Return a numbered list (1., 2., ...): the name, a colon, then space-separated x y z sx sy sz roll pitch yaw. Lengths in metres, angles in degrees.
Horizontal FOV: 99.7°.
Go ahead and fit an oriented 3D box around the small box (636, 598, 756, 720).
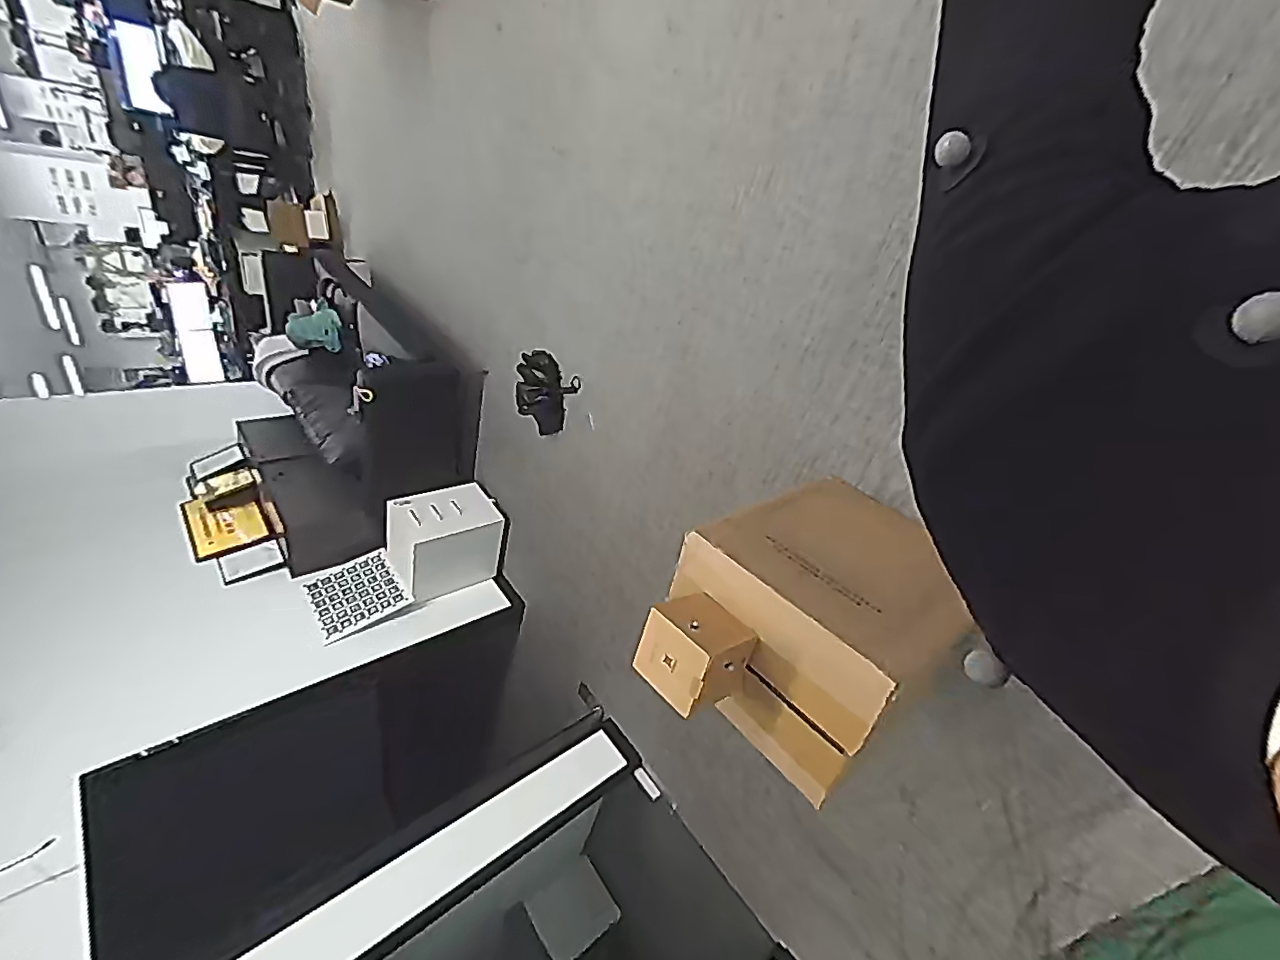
1. small box: 0.125 0.378 1.183 0.179 0.176 0.168 34 116 40
